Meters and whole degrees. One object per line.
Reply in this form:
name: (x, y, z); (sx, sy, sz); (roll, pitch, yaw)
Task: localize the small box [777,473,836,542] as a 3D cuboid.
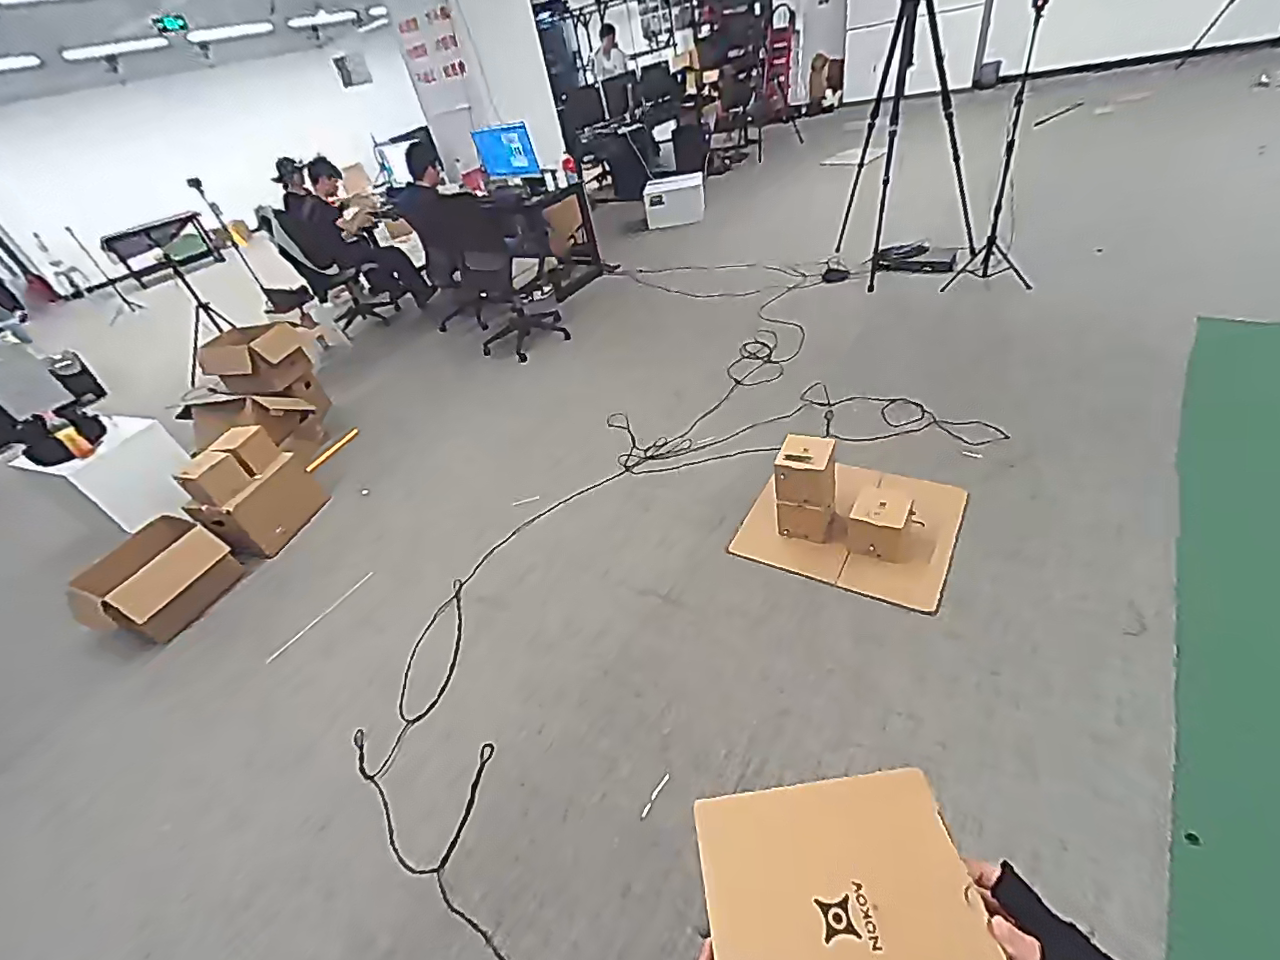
small box: (0.609, 0.102, 1.964); (0.168, 0.176, 0.179); (11, 45, 29)

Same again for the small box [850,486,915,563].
small box: (0.821, 0.150, 1.839); (0.168, 0.176, 0.179); (14, 47, 33)

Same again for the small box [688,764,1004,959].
small box: (0.140, 0.339, 0.395); (0.179, 0.176, 0.168); (-10, 38, 2)
